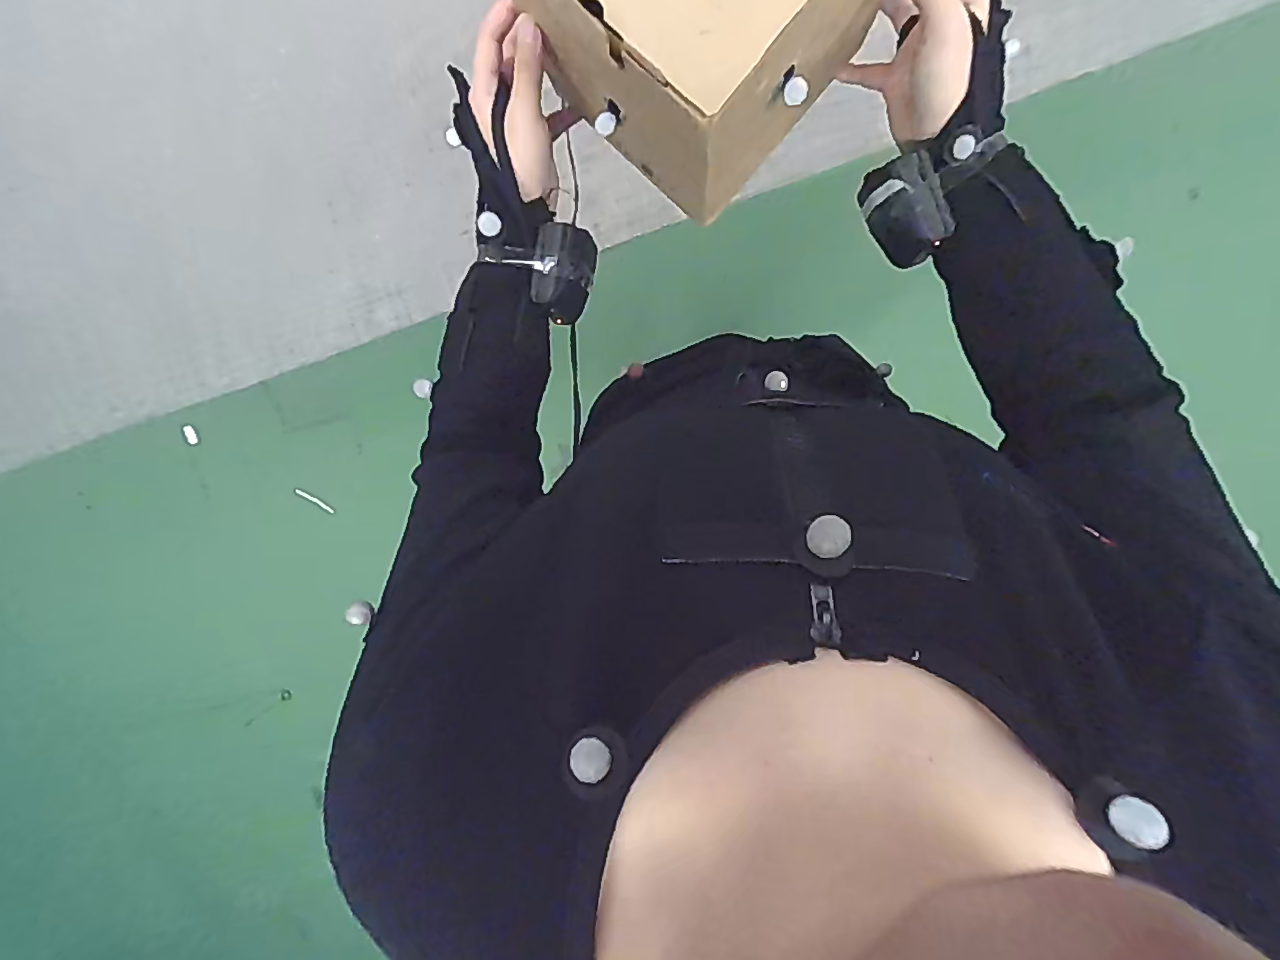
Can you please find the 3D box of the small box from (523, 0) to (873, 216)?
[{"bbox_3d":[0.042,-0.310,0.347,0.168,0.176,0.179,42,100,0],"label":"small box"}]
